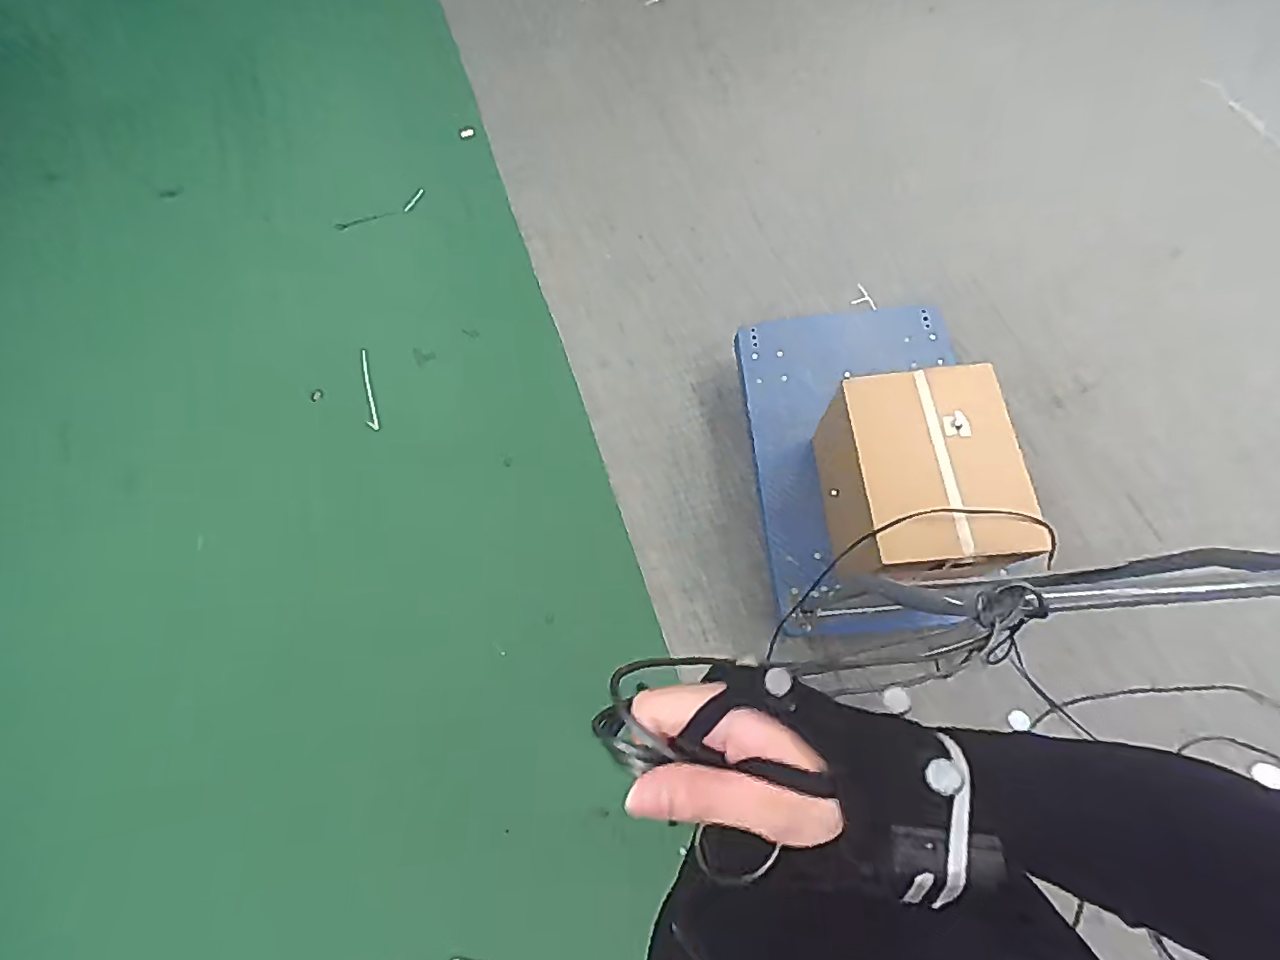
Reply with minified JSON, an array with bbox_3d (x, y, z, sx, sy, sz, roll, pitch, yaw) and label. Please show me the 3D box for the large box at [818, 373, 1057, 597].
[{"bbox_3d":[0.612,0.027,1.201,0.320,0.320,0.408,-5,69,3],"label":"large box"}]
